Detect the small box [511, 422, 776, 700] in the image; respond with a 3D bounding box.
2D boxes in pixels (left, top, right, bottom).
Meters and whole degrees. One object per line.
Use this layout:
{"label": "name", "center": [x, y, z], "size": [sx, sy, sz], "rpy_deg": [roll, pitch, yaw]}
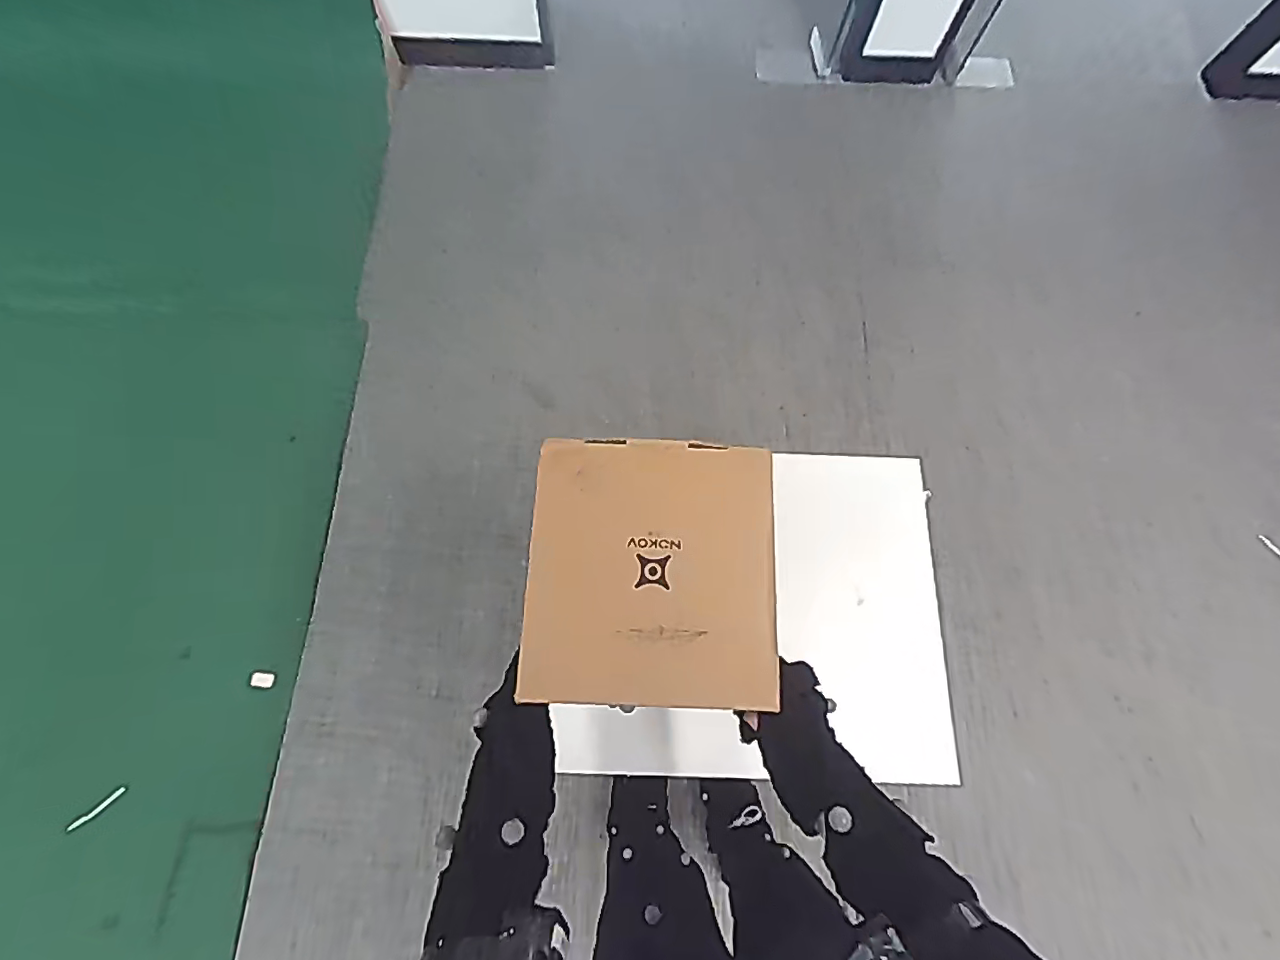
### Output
{"label": "small box", "center": [0.004, 0.070, 0.429], "size": [0.168, 0.176, 0.179], "rpy_deg": [3, 74, 0]}
